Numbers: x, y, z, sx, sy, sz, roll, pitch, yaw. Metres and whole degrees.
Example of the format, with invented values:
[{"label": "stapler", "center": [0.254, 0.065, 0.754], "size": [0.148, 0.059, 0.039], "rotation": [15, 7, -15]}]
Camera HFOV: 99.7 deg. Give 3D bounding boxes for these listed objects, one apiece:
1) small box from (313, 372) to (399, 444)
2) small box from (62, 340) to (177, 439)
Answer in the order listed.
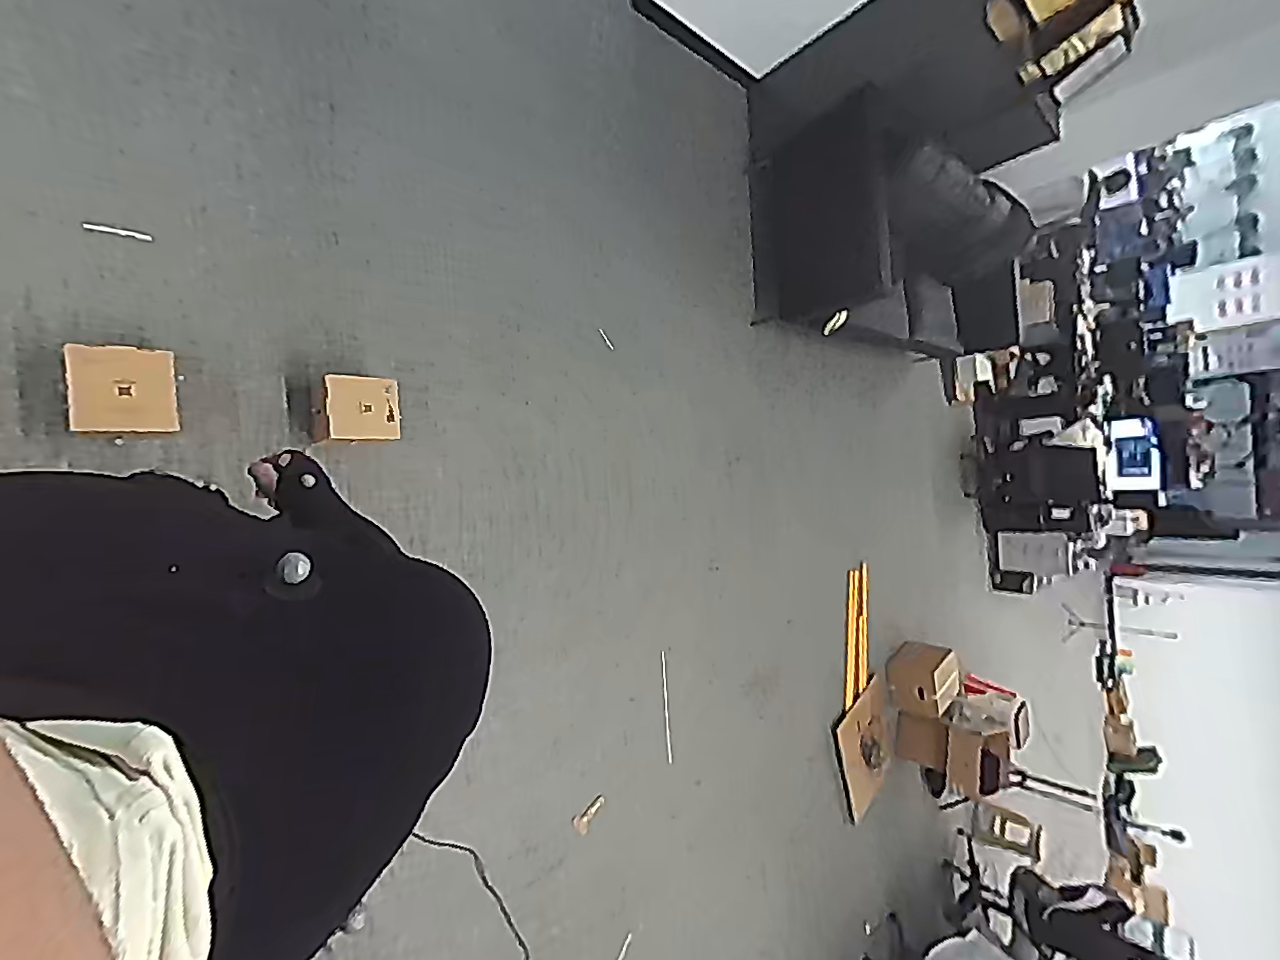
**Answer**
[{"label": "small box", "center": [-0.771, -0.186, 1.458], "size": [0.179, 0.176, 0.168], "rotation": [-3, 90, -42]}, {"label": "small box", "center": [-1.104, -0.183, 1.153], "size": [0.168, 0.176, 0.179], "rotation": [-4, 91, -42]}]
